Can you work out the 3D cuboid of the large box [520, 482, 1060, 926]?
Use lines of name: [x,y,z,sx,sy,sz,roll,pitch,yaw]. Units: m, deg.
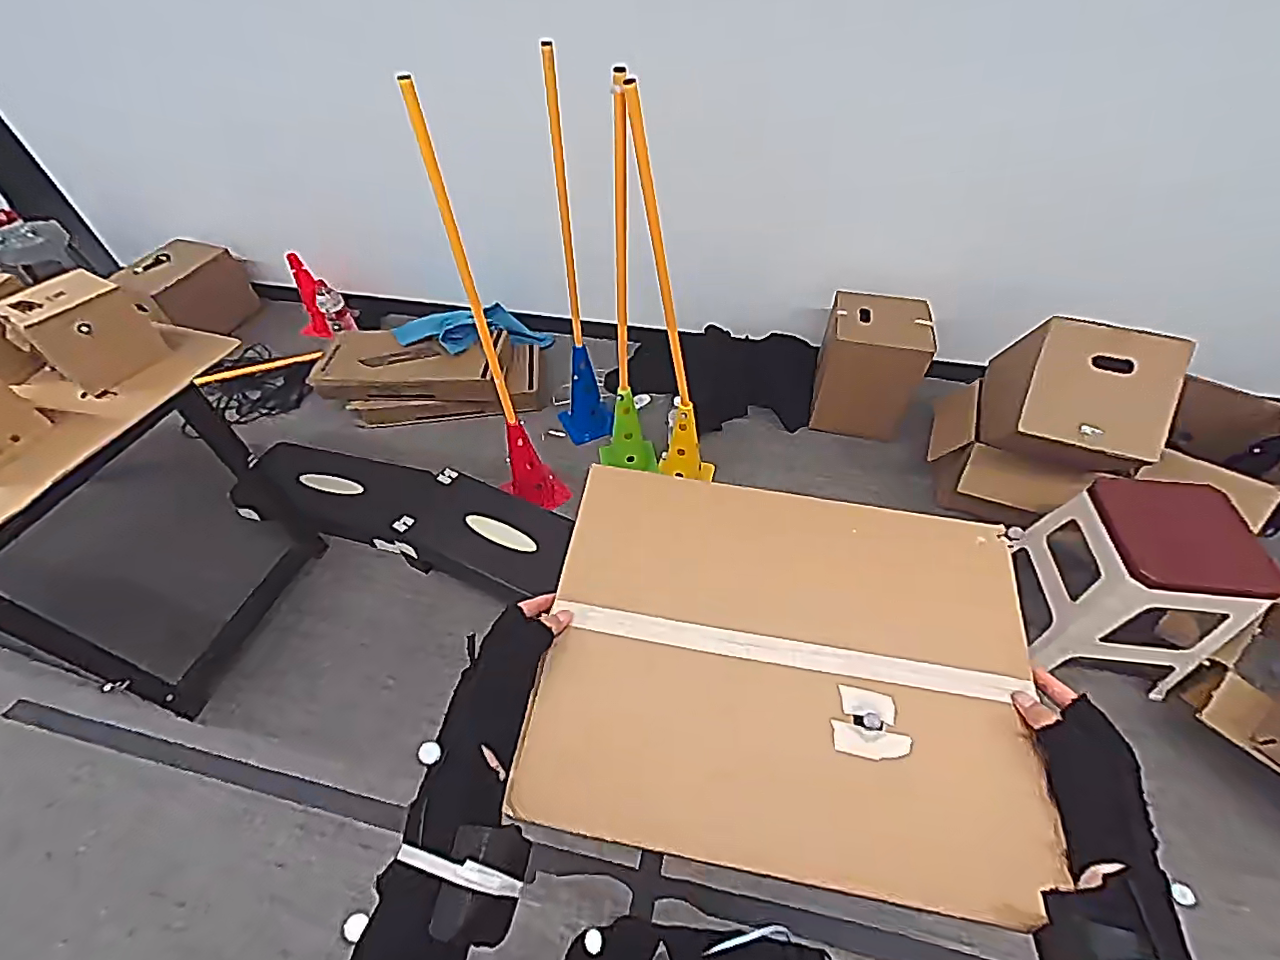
large box: [0.123,0.234,0.597,0.408,0.320,0.320,9,60,5]
